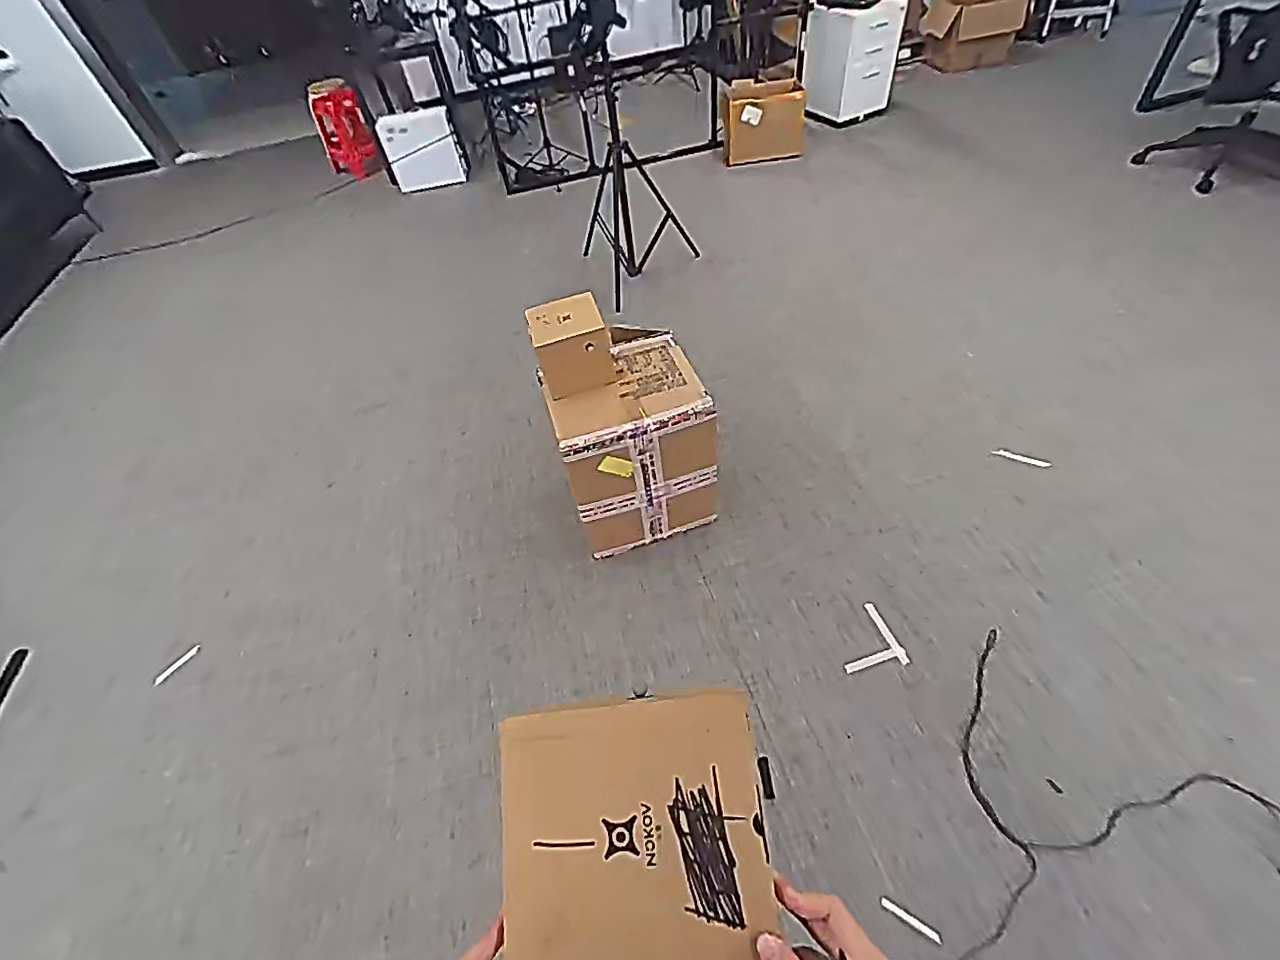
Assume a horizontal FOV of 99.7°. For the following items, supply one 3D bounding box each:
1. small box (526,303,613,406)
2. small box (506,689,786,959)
[{"bbox_3d":[-0.174,-0.316,1.376,0.179,0.176,0.168,-18,50,-3],"label":"small box"},{"bbox_3d":[0.000,0.265,0.436,0.179,0.176,0.168,-7,69,0],"label":"small box"}]
